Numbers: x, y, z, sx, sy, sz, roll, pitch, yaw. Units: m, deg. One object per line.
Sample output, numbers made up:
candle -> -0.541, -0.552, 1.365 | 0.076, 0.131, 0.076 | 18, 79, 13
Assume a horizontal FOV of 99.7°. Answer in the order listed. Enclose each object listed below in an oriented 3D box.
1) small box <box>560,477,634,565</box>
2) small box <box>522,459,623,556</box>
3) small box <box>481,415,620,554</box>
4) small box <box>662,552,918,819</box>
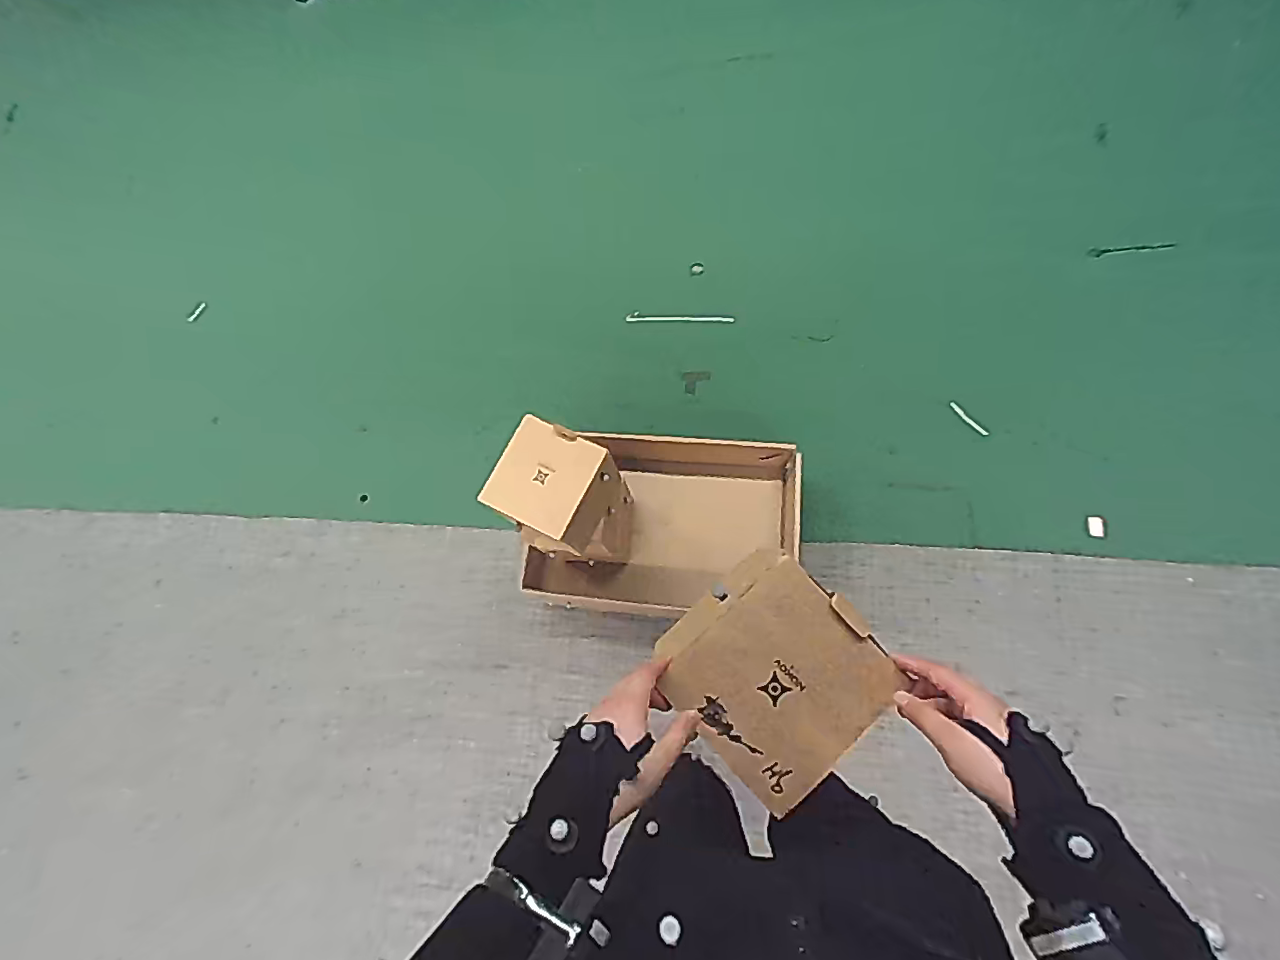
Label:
small box -> -0.108, 0.097, 1.290 | 0.168, 0.176, 0.179 | 2, 72, 7
small box -> -0.133, 0.058, 1.133 | 0.168, 0.176, 0.179 | 3, 73, 7
small box -> -0.148, 0.017, 0.977 | 0.168, 0.176, 0.179 | 25, 76, 13
small box -> 0.135, 0.190, 0.564 | 0.179, 0.176, 0.168 | -44, 83, -4
